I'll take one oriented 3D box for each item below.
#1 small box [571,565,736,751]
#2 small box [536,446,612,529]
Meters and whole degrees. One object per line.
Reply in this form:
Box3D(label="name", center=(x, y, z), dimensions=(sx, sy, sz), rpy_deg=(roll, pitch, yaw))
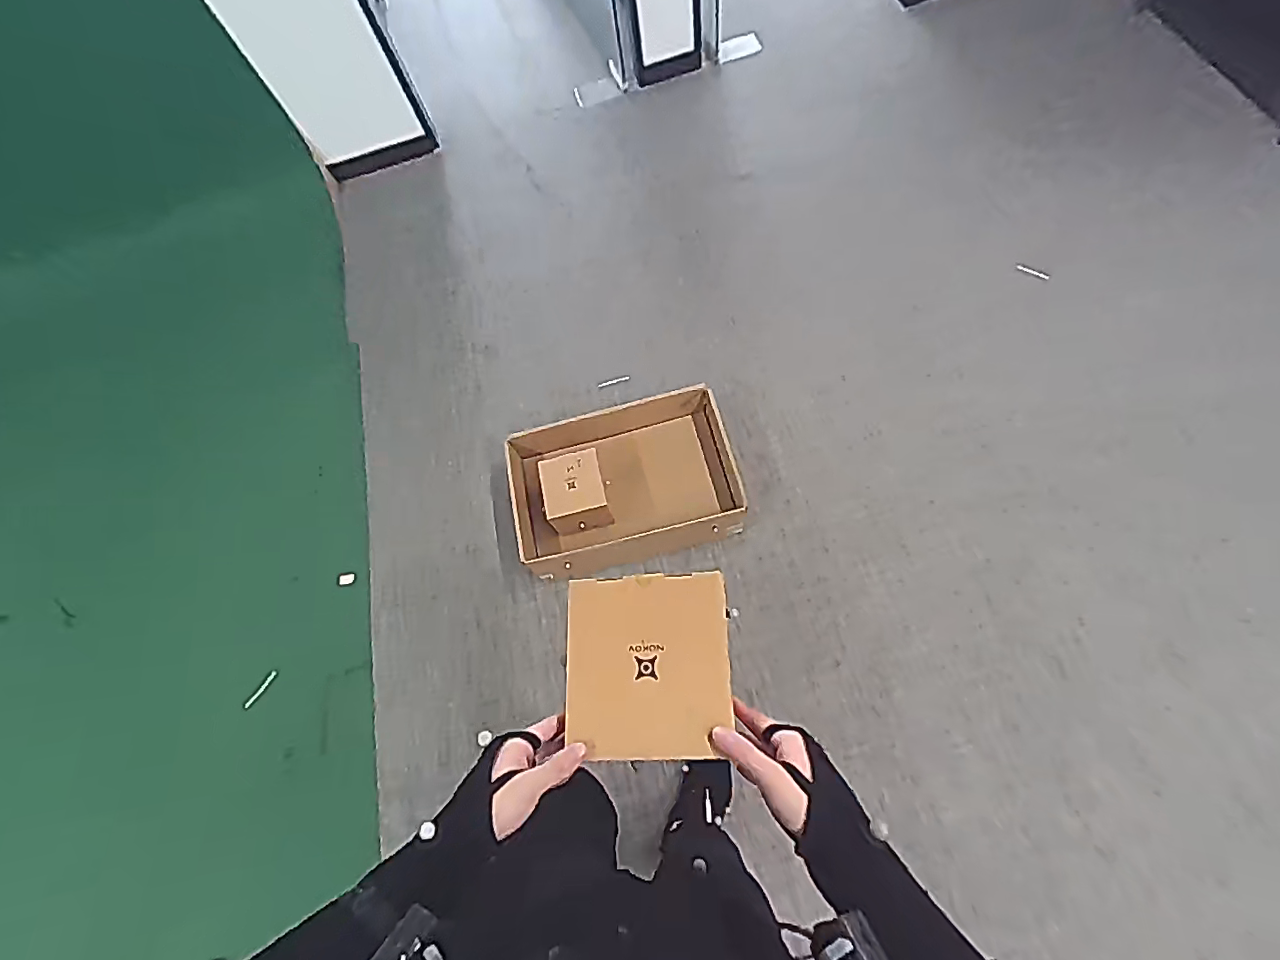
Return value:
Box3D(label="small box", center=(0.022, 0.206, 0.624), dimensions=(0.168, 0.176, 0.179), rpy_deg=(-5, 67, 6))
Box3D(label="small box", center=(-0.182, 0.031, 1.532), dimensions=(0.168, 0.176, 0.179), rpy_deg=(-14, 67, 0))
